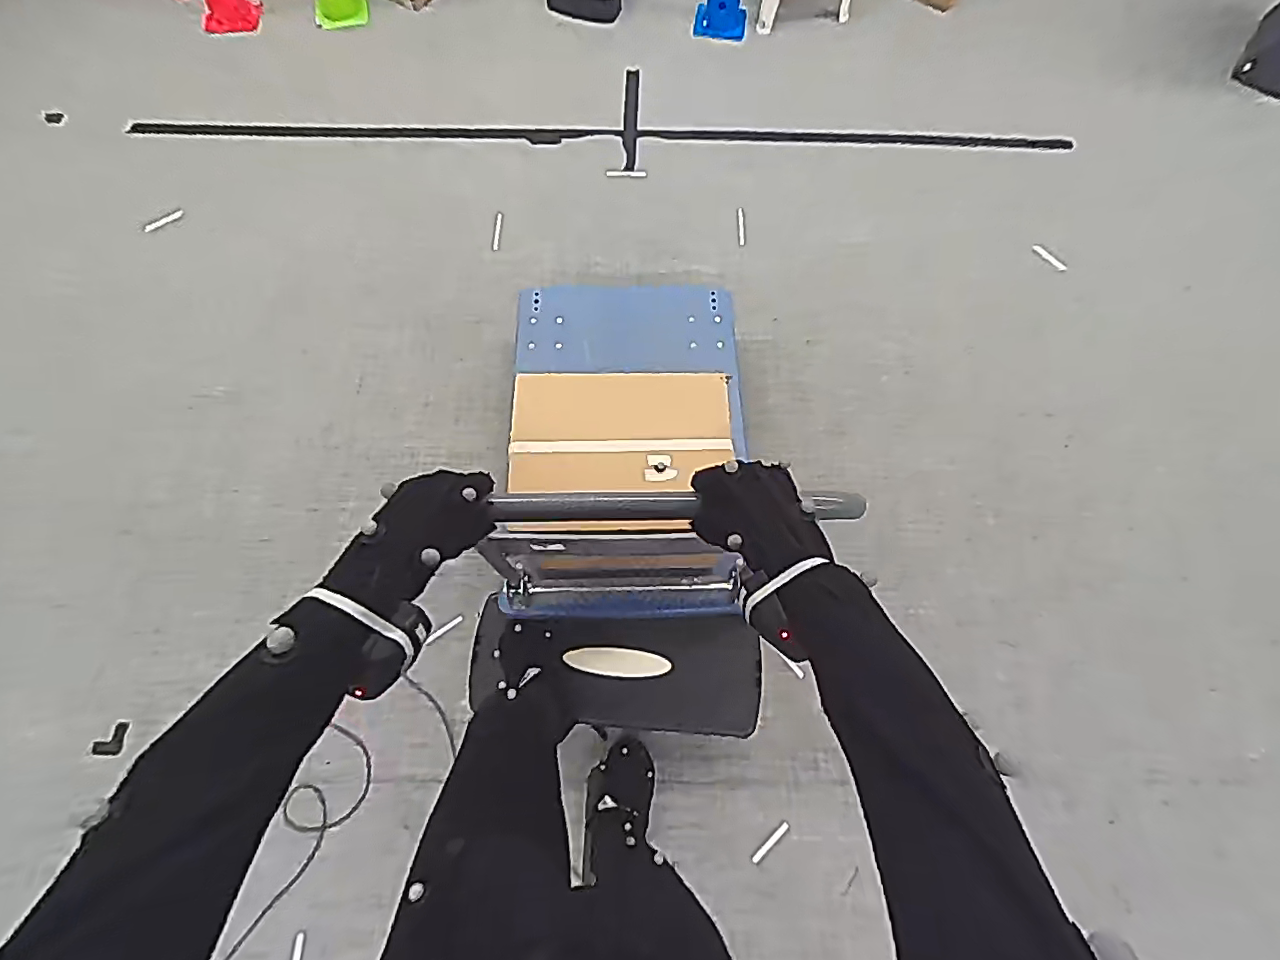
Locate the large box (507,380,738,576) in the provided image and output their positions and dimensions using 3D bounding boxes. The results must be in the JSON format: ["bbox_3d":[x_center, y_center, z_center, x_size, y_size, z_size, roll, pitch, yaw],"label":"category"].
[{"bbox_3d":[-0.040,0.009,1.109,0.408,0.320,0.320,0,69,-3],"label":"large box"}]
